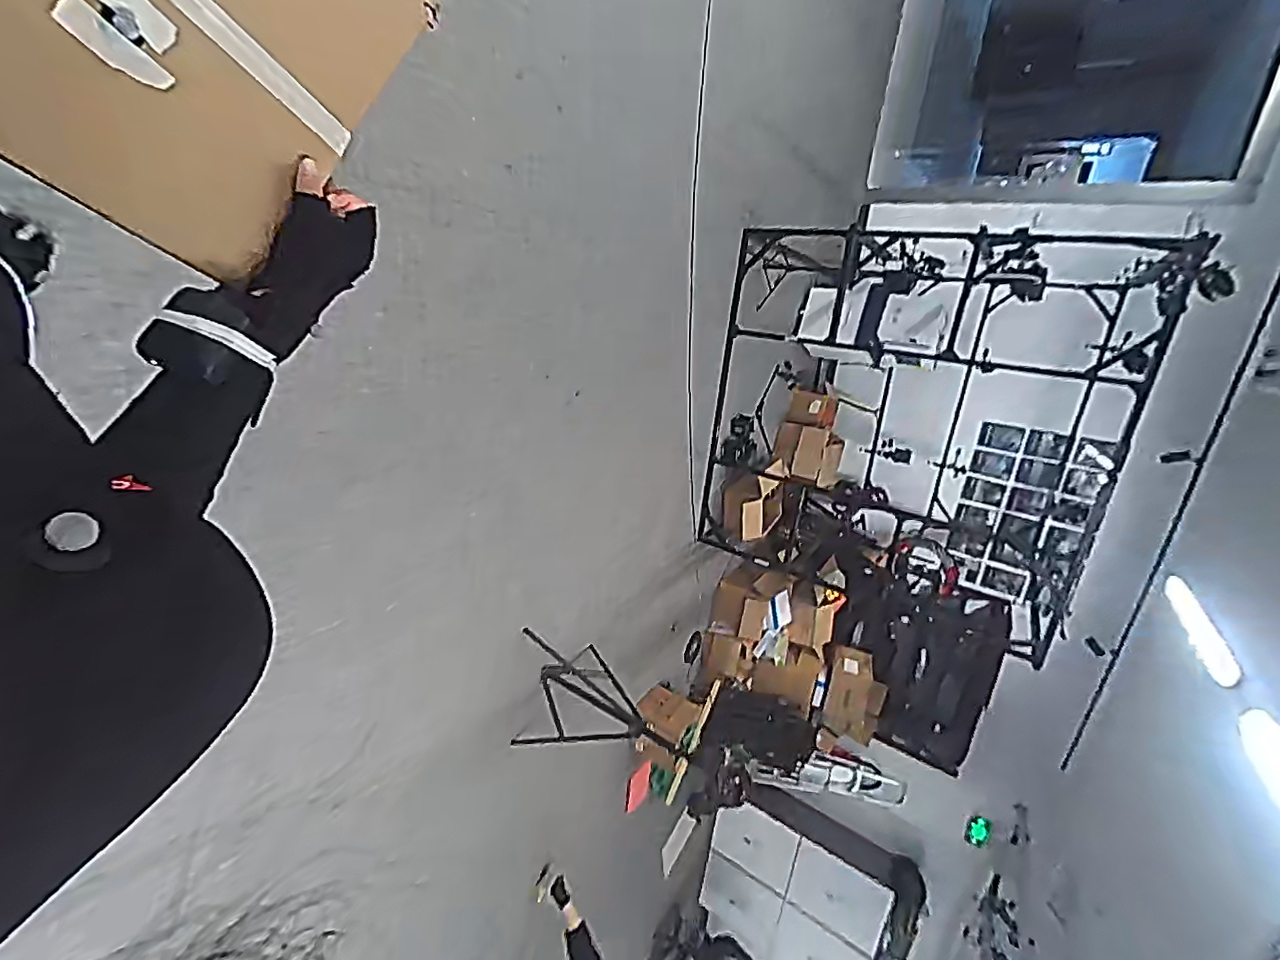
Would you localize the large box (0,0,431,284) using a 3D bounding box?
[{"bbox_3d":[-0.462,-0.420,0.393,0.320,0.320,0.408,-58,149,-3],"label":"large box"}]
